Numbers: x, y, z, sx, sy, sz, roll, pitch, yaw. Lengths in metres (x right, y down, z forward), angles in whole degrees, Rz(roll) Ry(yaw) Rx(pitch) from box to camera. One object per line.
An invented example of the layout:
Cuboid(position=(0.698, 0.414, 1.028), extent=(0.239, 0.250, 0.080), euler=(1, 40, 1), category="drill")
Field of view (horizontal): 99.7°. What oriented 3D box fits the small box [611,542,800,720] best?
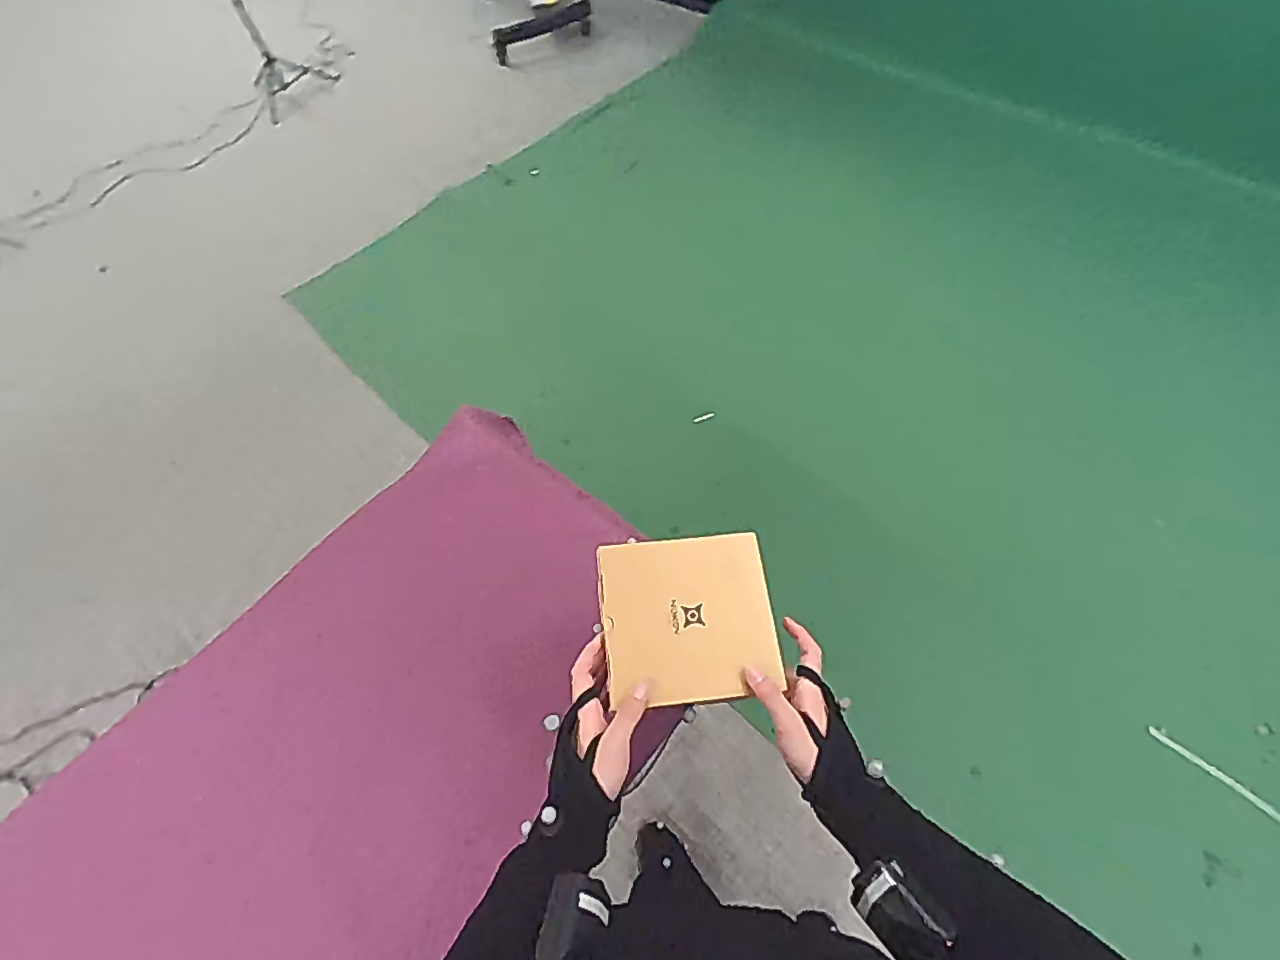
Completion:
Cuboid(position=(0.059, 0.177, 0.620), extent=(0.179, 0.176, 0.168), euler=(-4, 66, -5), category="small box")
